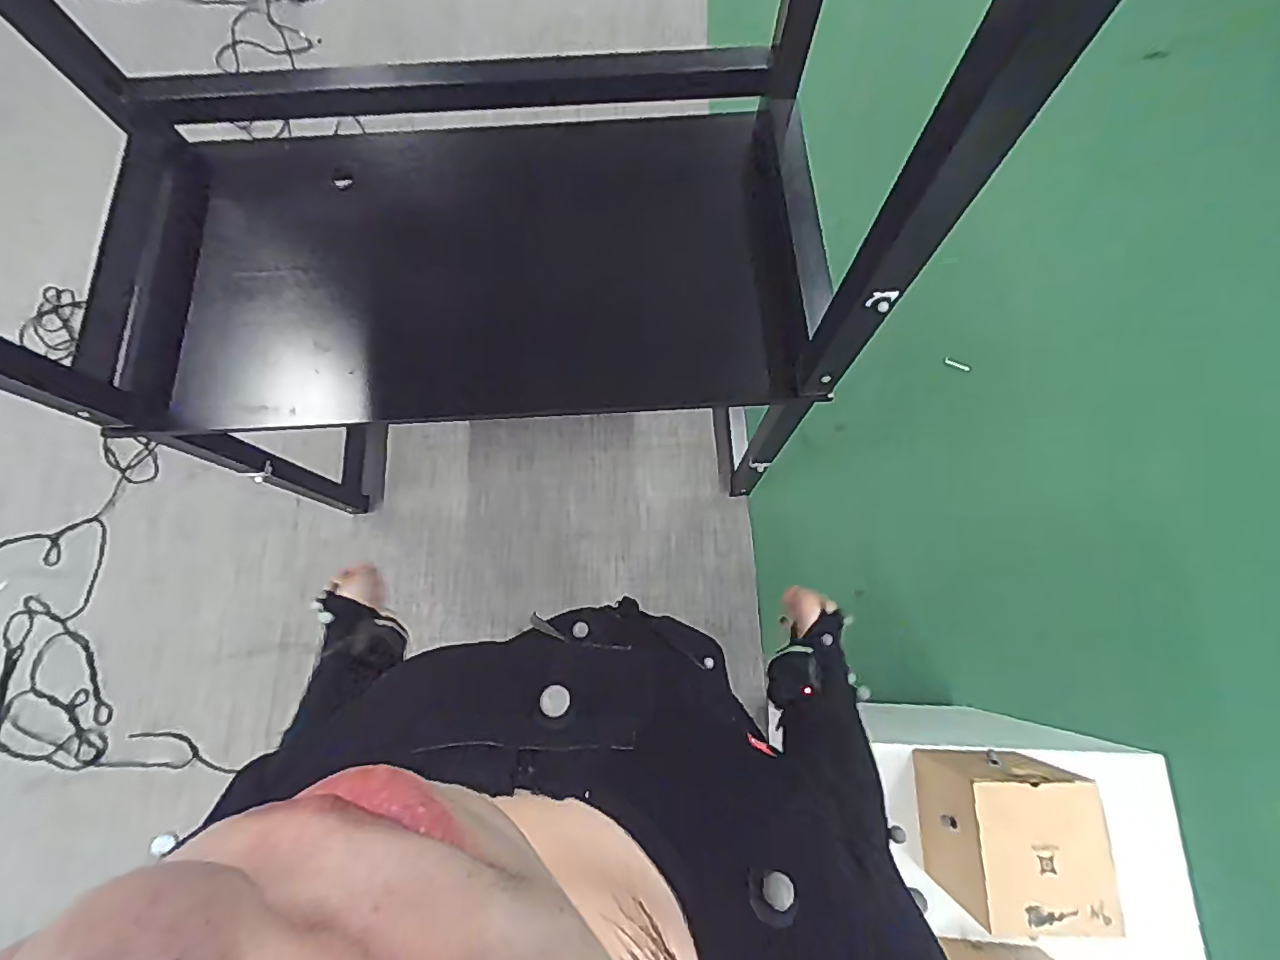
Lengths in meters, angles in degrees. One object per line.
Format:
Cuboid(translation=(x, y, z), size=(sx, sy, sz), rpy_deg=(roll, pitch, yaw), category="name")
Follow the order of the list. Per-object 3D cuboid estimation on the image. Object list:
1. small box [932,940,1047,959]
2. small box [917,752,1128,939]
Cuboid(translation=(0.491, 0.728, 0.682), size=(0.168, 0.176, 0.179), rpy_deg=(3, 75, 3), category="small box")
Cuboid(translation=(0.508, 0.487, 0.749), size=(0.168, 0.176, 0.179), rpy_deg=(0, 75, 2), category="small box")
